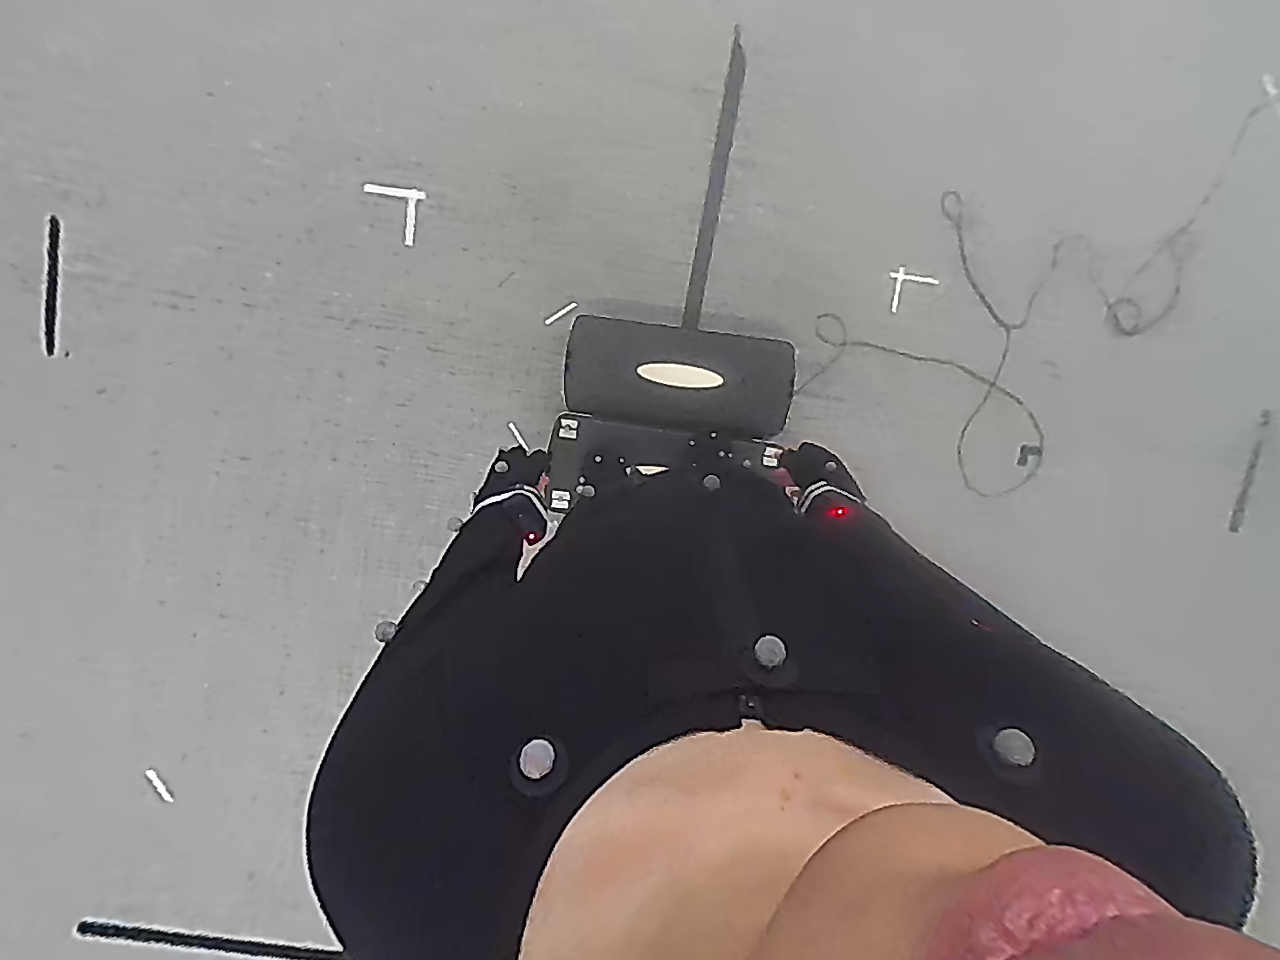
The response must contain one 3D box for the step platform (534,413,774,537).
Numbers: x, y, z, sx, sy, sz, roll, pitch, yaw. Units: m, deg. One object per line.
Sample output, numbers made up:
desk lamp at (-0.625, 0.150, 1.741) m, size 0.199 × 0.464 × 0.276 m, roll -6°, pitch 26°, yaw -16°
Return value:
step platform at (0.038, -0.015, 1.574) m, size 0.684 × 0.204 × 0.286 m, roll 7°, pitch 95°, yaw -1°
